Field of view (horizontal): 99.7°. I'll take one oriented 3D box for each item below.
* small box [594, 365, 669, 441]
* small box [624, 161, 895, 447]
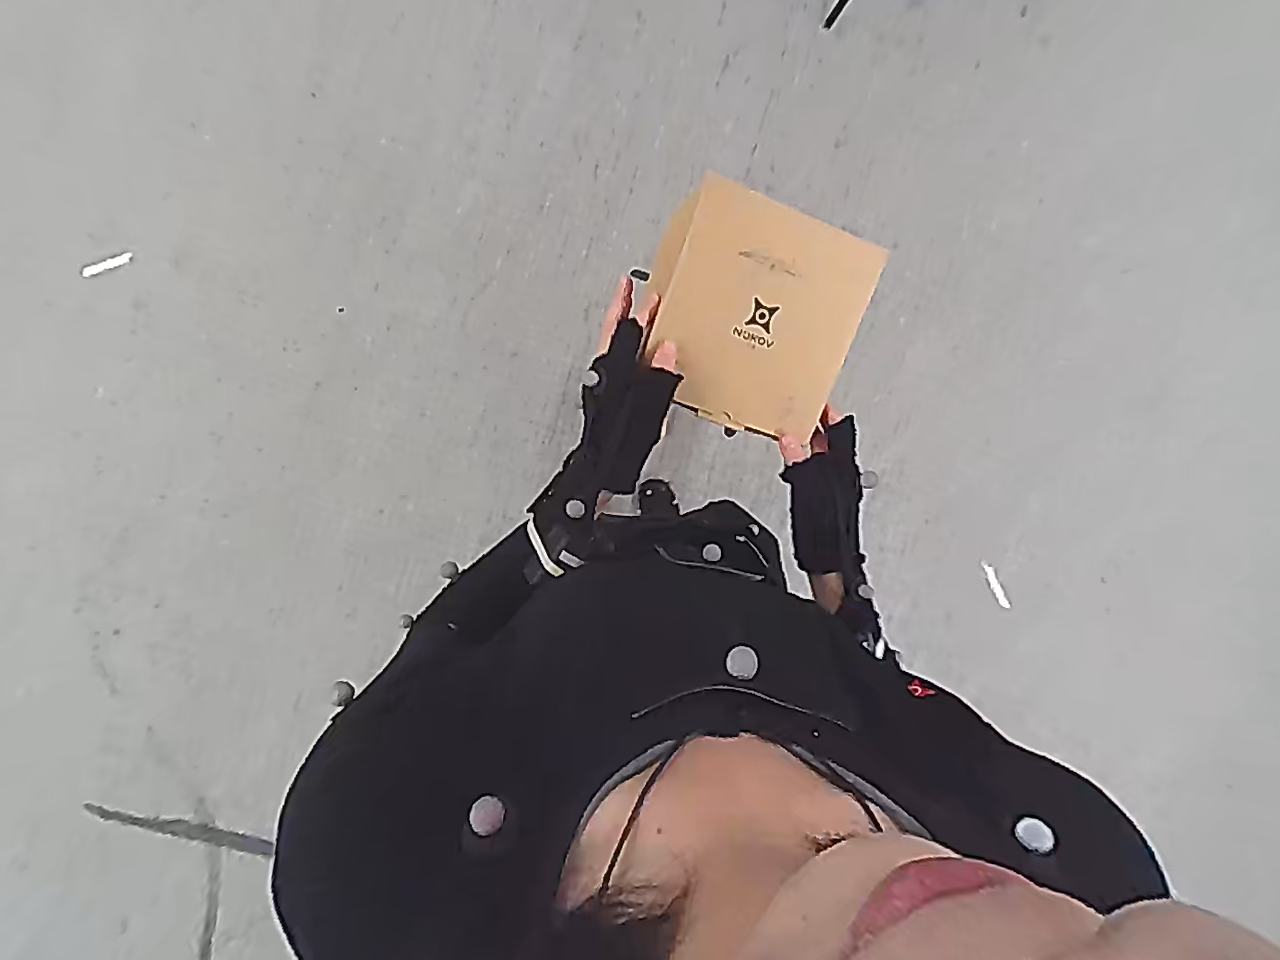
[{"bbox_3d":[-0.023,-0.196,1.429,0.179,0.176,0.168,9,92,-4],"label":"small box"},{"bbox_3d":[0.090,-0.151,0.507,0.168,0.176,0.179,18,101,-12],"label":"small box"}]
